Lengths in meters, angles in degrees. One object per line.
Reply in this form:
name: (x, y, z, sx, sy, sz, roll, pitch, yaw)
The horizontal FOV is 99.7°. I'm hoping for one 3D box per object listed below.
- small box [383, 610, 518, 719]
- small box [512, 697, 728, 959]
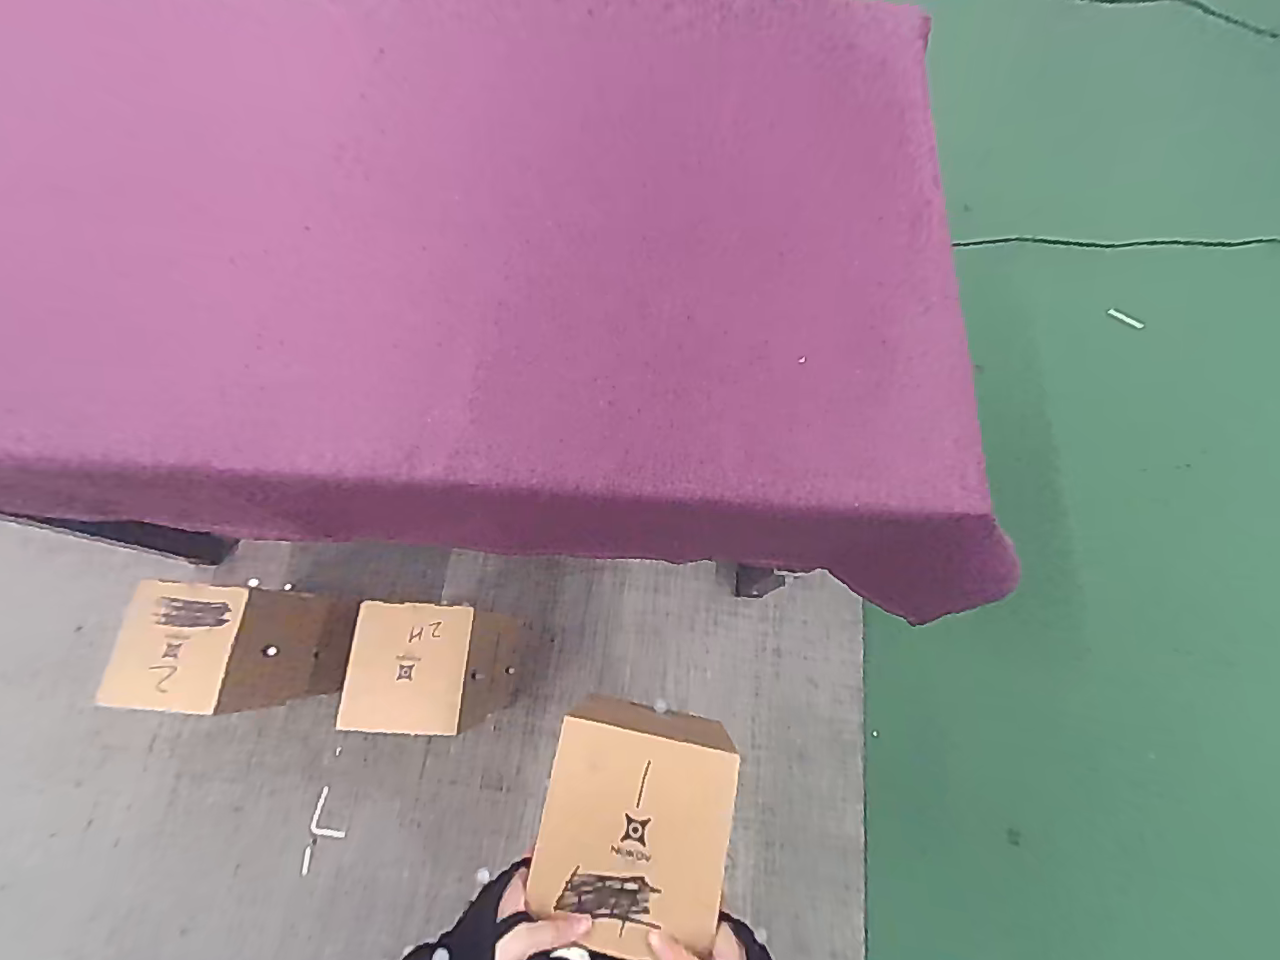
small box: (-0.338, 0.340, 1.001, 0.179, 0.176, 0.168, 5, 71, 0)
small box: (-0.012, 0.340, 0.562, 0.168, 0.176, 0.179, 11, 74, 5)
